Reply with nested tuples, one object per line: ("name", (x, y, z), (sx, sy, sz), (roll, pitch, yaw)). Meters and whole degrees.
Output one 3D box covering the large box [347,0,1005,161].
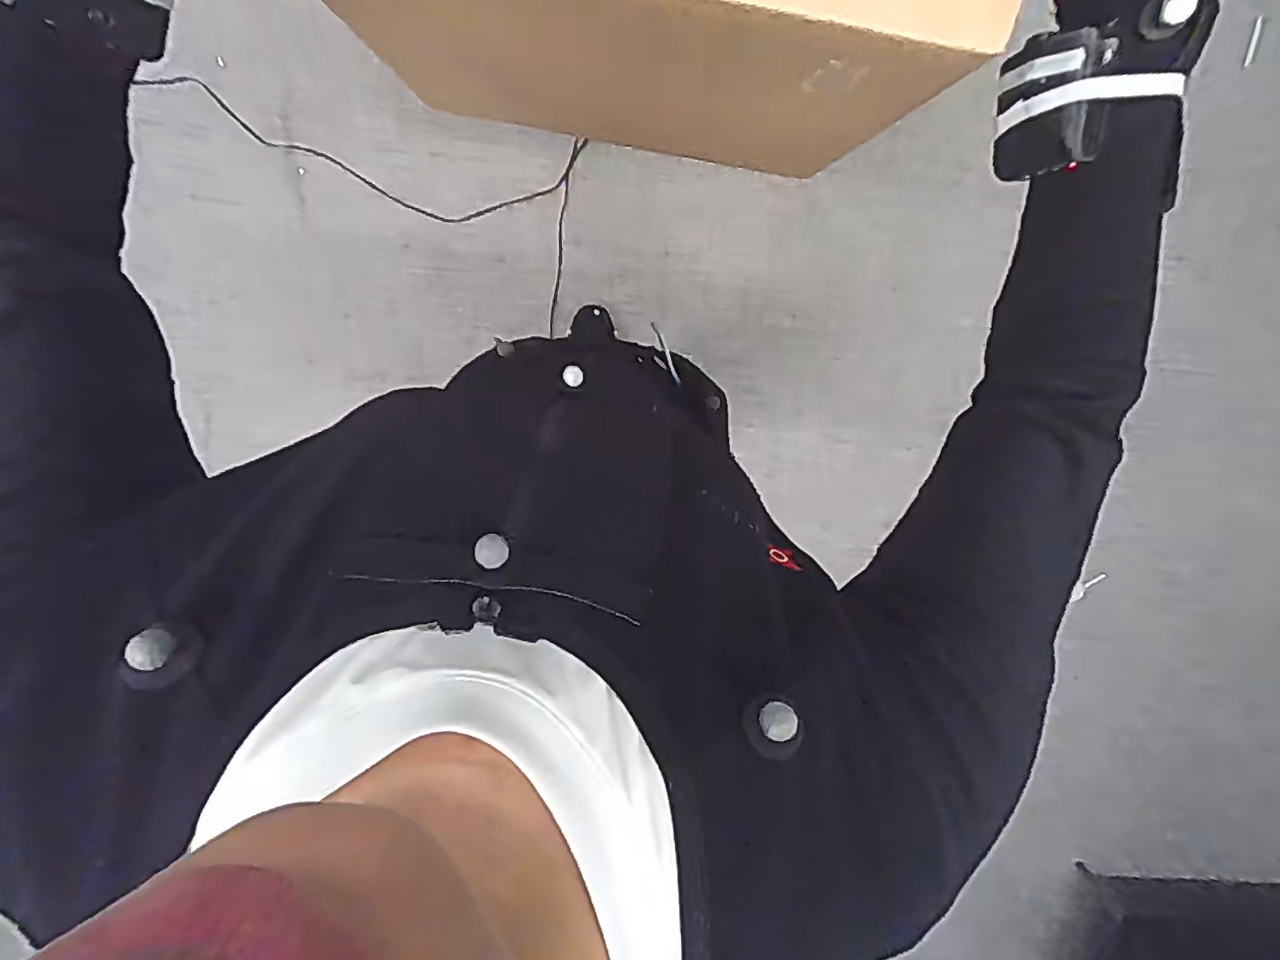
("large box", (0.012, -0.455, 0.375), (0.408, 0.320, 0.320), (7, 109, -5))
